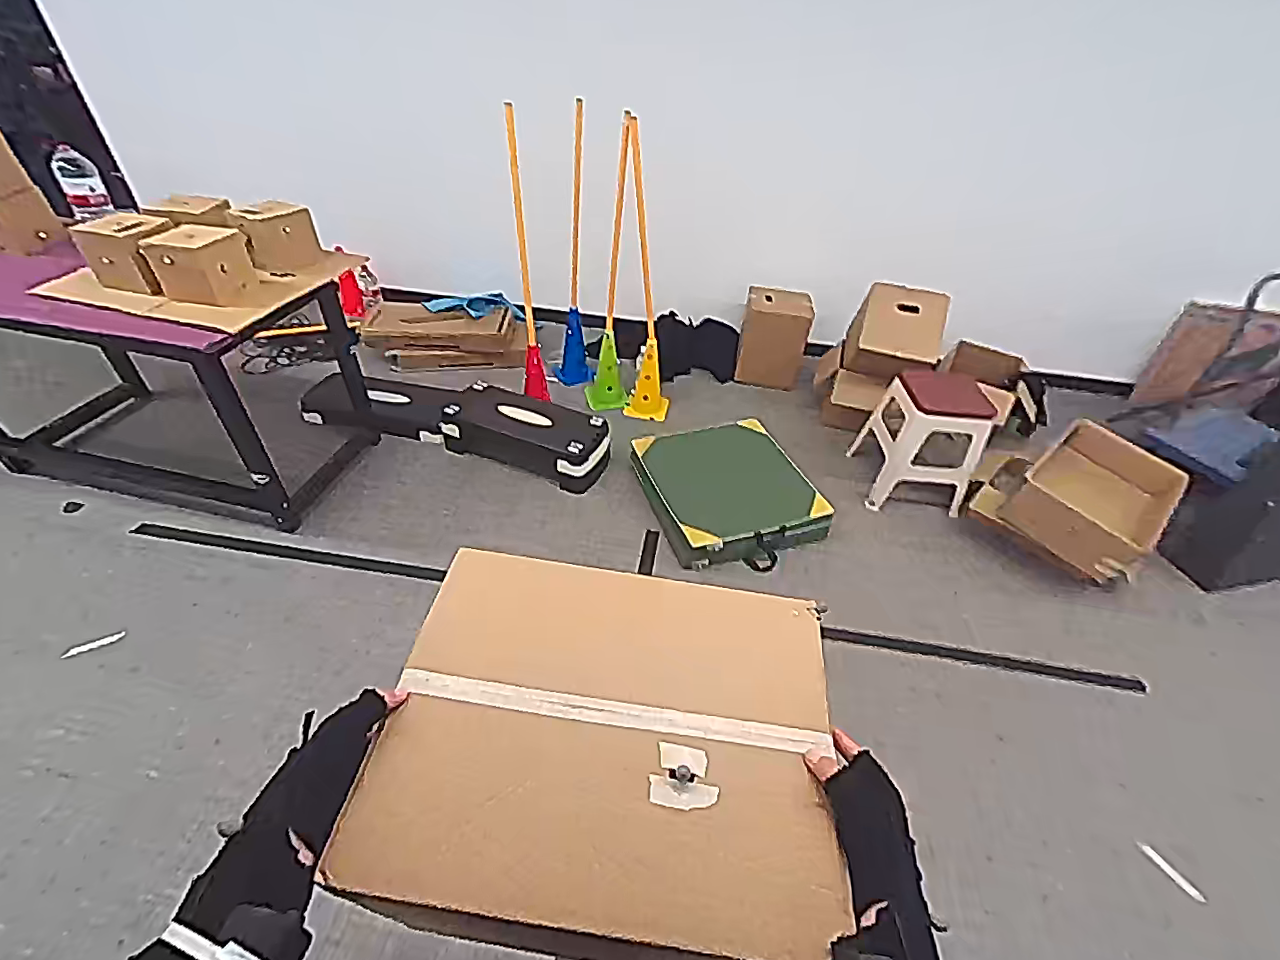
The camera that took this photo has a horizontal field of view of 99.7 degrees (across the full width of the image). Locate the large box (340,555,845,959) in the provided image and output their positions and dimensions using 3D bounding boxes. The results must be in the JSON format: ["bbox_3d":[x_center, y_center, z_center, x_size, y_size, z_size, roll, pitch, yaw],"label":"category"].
[{"bbox_3d":[-0.037,0.323,0.623,0.408,0.320,0.320,9,47,1],"label":"large box"}]
